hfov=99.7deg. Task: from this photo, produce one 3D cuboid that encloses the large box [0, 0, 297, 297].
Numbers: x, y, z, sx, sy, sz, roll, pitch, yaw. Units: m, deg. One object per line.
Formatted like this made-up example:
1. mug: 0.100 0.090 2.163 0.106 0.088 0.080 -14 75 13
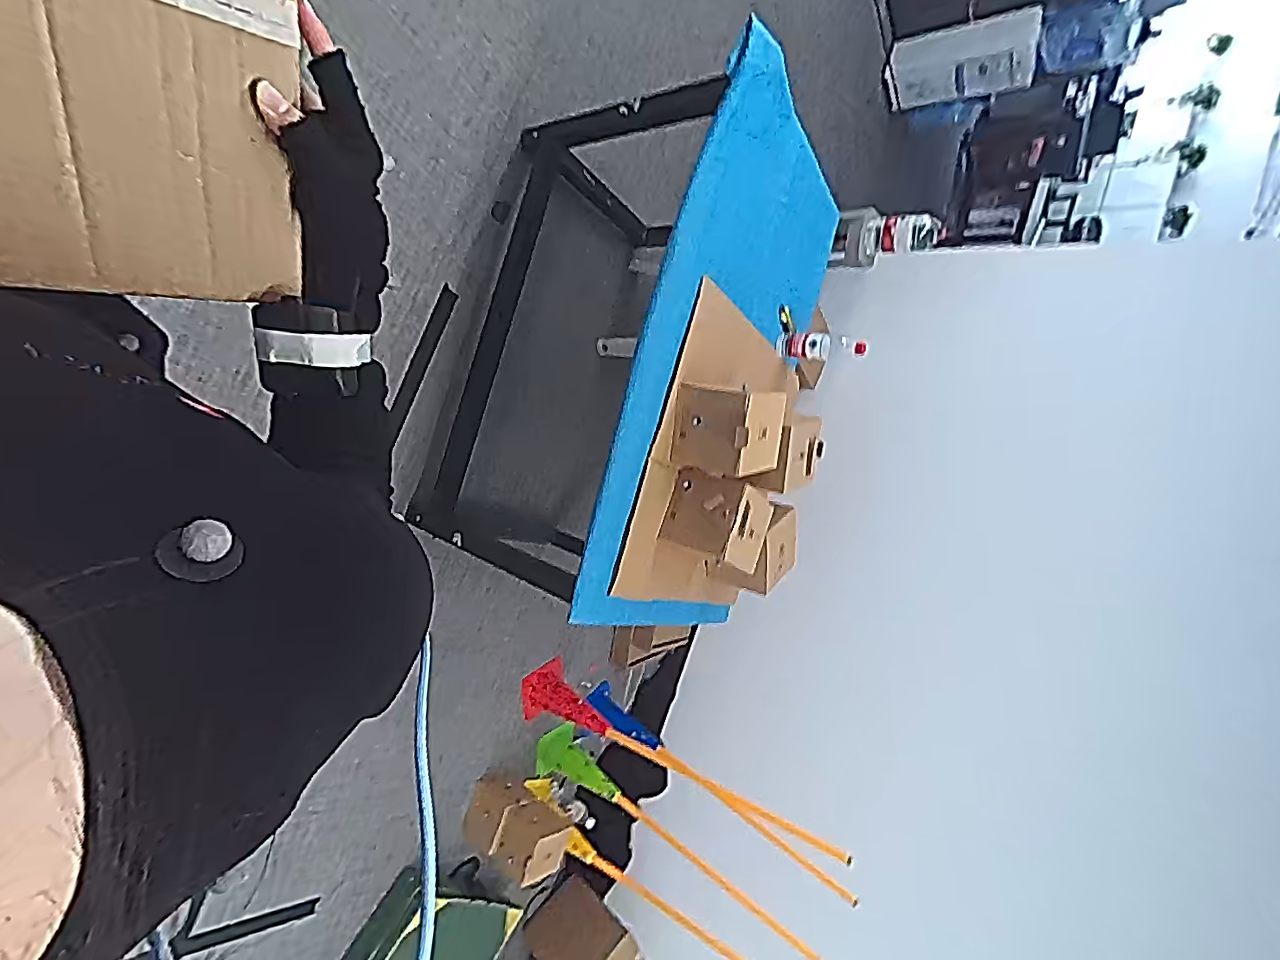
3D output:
1. large box: -0.442 -0.303 0.258 0.408 0.320 0.320 -12 132 -44
